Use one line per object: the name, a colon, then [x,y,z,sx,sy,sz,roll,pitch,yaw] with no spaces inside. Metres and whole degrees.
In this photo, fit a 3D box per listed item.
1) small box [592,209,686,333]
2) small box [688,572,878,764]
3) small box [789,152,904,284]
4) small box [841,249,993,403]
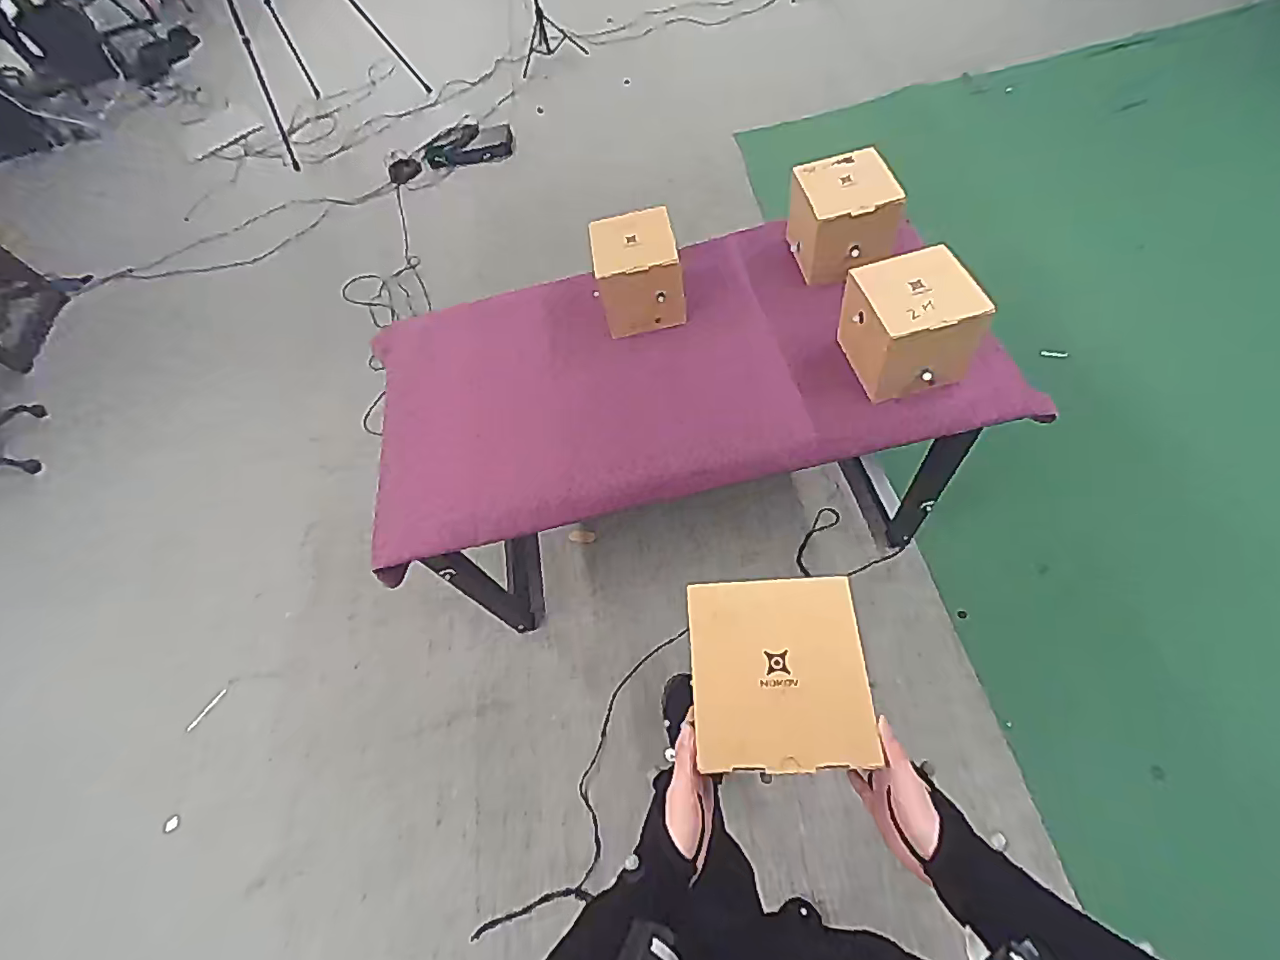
small box: [0.001,-0.431,1.142,0.168,0.176,0.179,-10,59,4]
small box: [0.139,0.212,0.594,0.168,0.176,0.179,-4,63,5]
small box: [0.415,-0.530,1.118,0.168,0.176,0.179,-12,61,4]
small box: [0.469,-0.266,0.952,0.168,0.176,0.179,-14,58,5]
